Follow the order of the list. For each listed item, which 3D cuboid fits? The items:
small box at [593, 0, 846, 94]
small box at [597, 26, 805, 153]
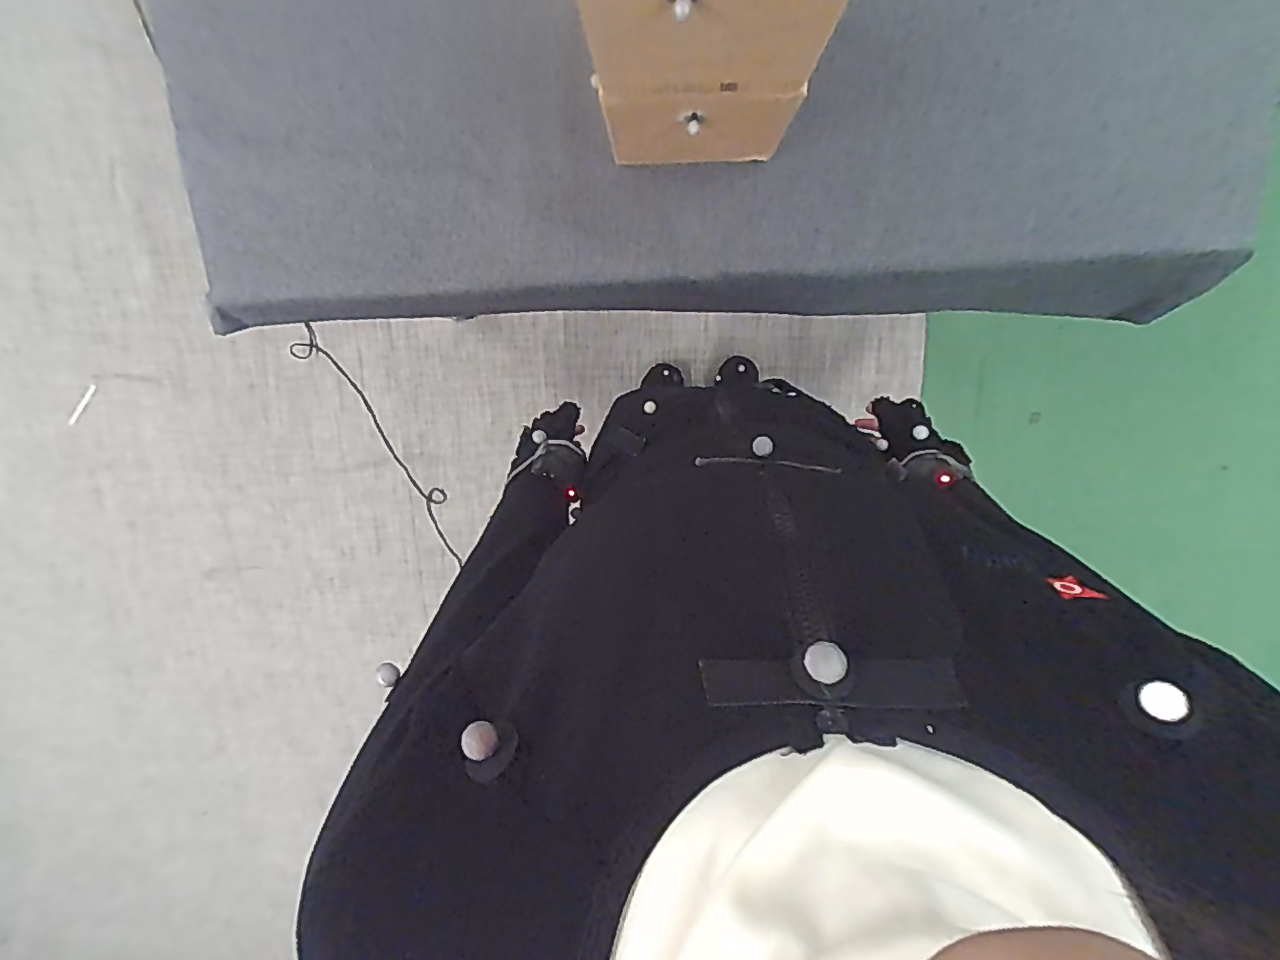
[{"bbox_3d":[0.049,-0.394,0.358,0.168,0.176,0.179,-1,105,2],"label":"small box"},{"bbox_3d":[0.054,-0.430,0.515,0.179,0.176,0.168,0,104,2],"label":"small box"}]
